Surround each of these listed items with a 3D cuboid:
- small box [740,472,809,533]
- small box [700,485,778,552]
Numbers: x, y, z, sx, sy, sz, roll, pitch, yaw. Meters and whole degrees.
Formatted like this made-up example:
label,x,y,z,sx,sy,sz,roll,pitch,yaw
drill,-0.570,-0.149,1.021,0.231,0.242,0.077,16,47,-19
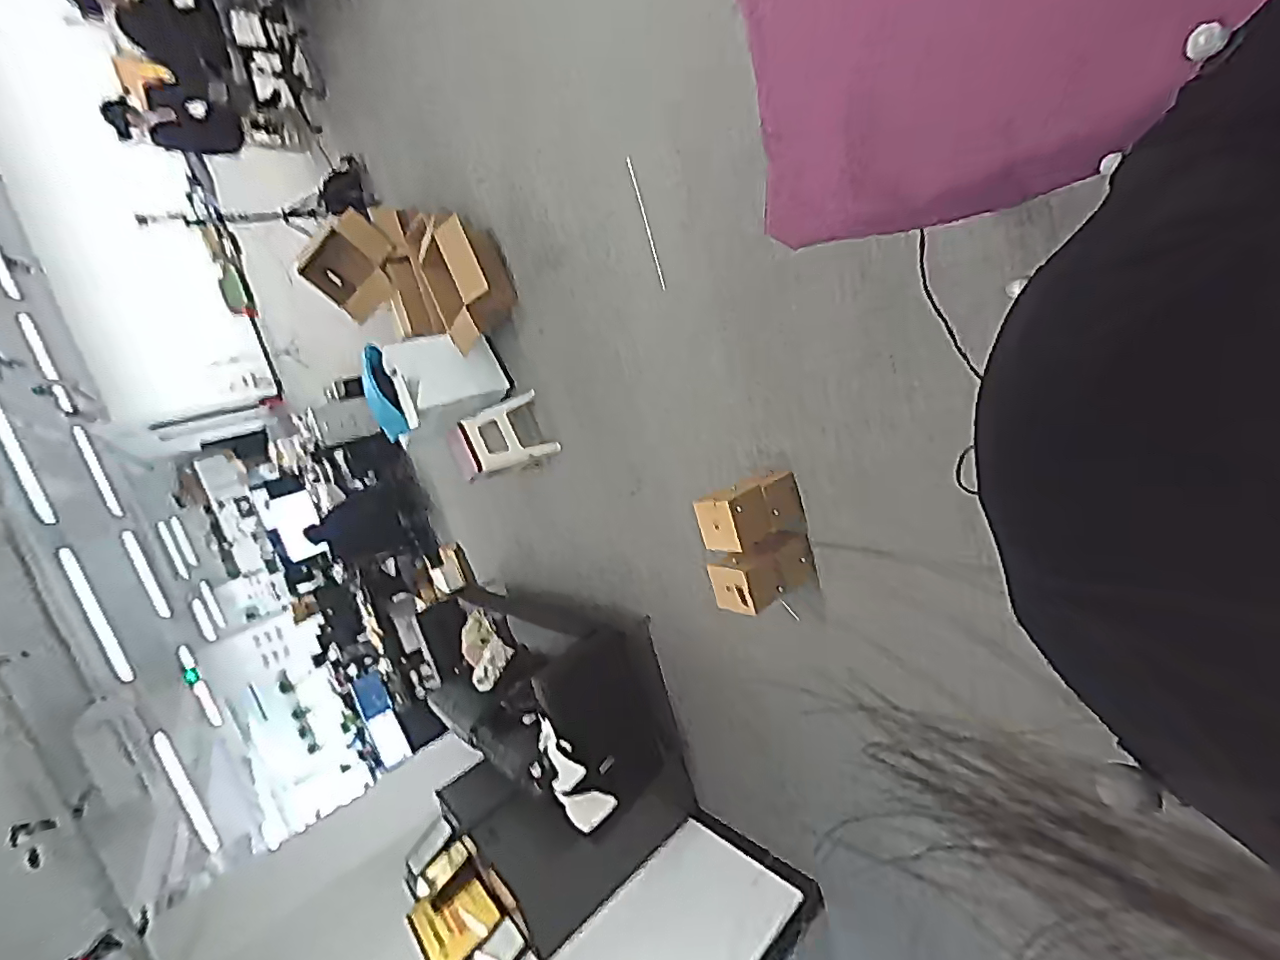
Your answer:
label,x,y,z,sx,sy,sz,roll,pitch,yaw
small box,0.463,0.078,1.903,0.179,0.176,0.168,-5,106,54
small box,0.337,0.127,1.812,0.168,0.176,0.179,-7,103,53
